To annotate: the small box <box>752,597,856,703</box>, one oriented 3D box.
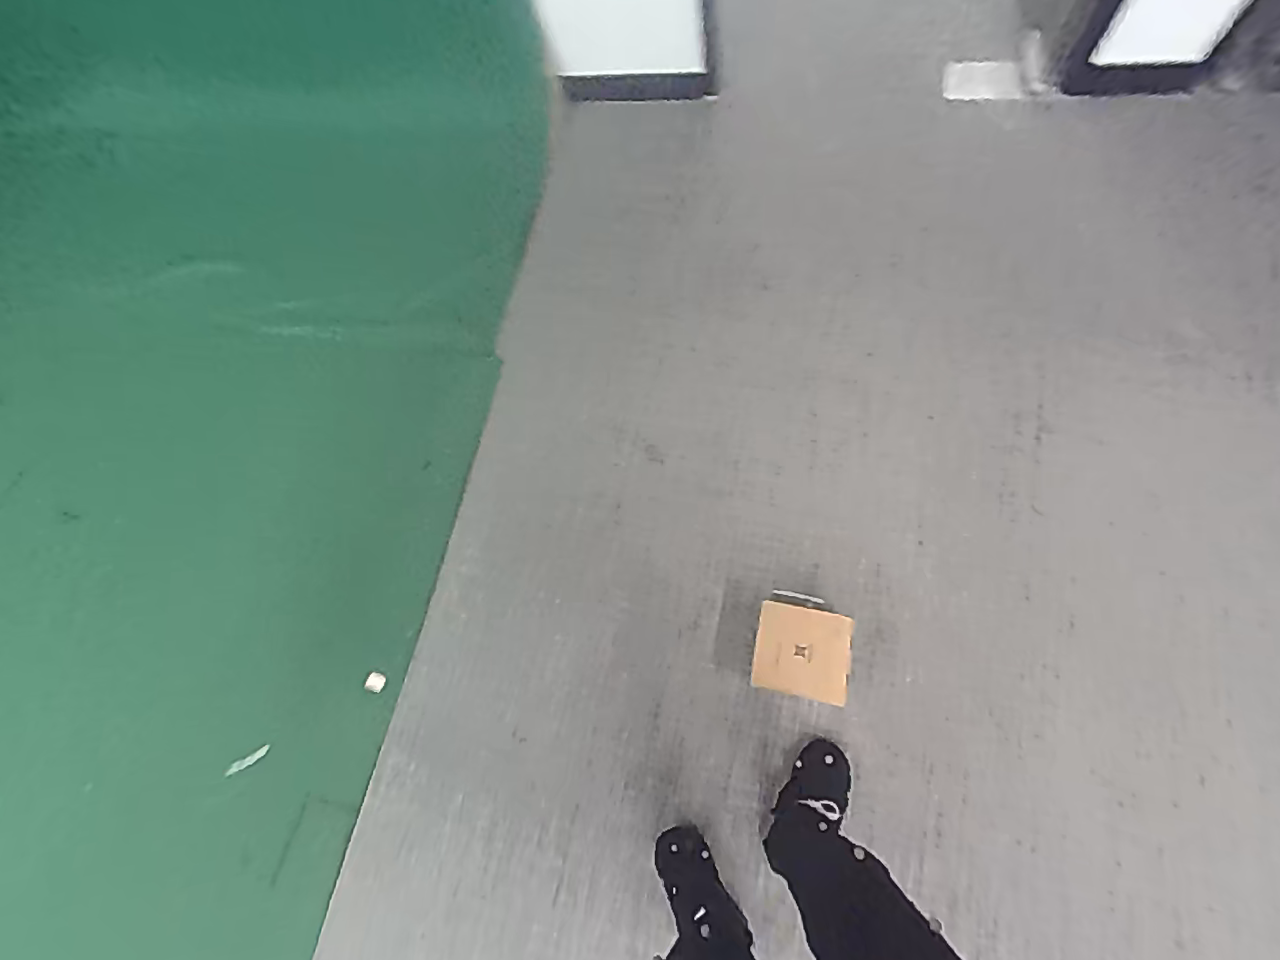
[{"bbox_3d":[0.331,0.345,1.110,0.179,0.176,0.168,8,75,16],"label":"small box"}]
